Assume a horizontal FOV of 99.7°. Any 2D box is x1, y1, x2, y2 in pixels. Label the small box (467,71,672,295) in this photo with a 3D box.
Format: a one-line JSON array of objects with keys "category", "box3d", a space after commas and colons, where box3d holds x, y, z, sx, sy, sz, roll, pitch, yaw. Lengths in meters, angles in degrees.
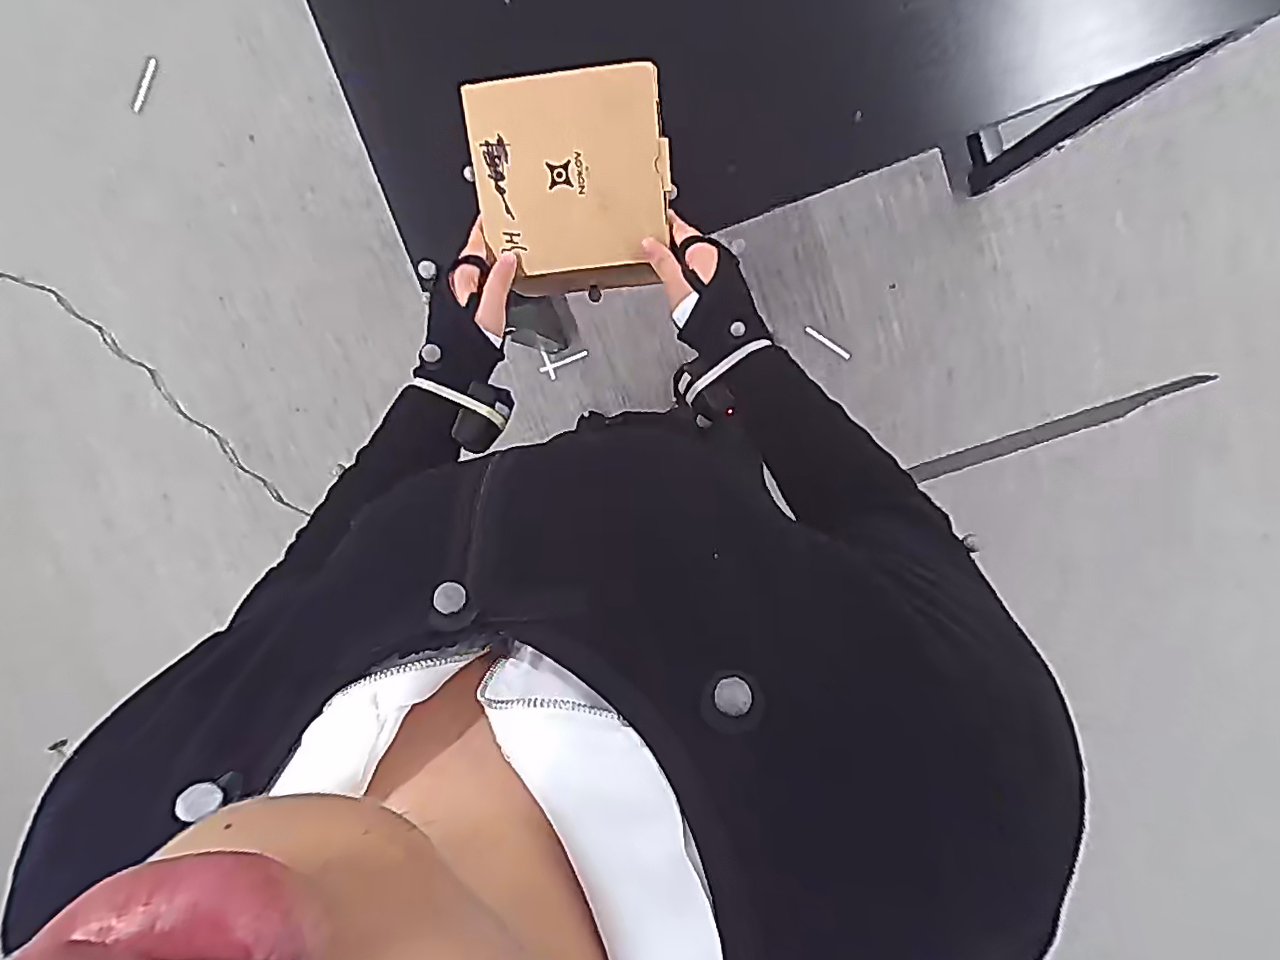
[{"category": "small box", "box3d": [-0.064, -0.295, 0.573, 0.179, 0.176, 0.168, -5, 103, 0]}]
